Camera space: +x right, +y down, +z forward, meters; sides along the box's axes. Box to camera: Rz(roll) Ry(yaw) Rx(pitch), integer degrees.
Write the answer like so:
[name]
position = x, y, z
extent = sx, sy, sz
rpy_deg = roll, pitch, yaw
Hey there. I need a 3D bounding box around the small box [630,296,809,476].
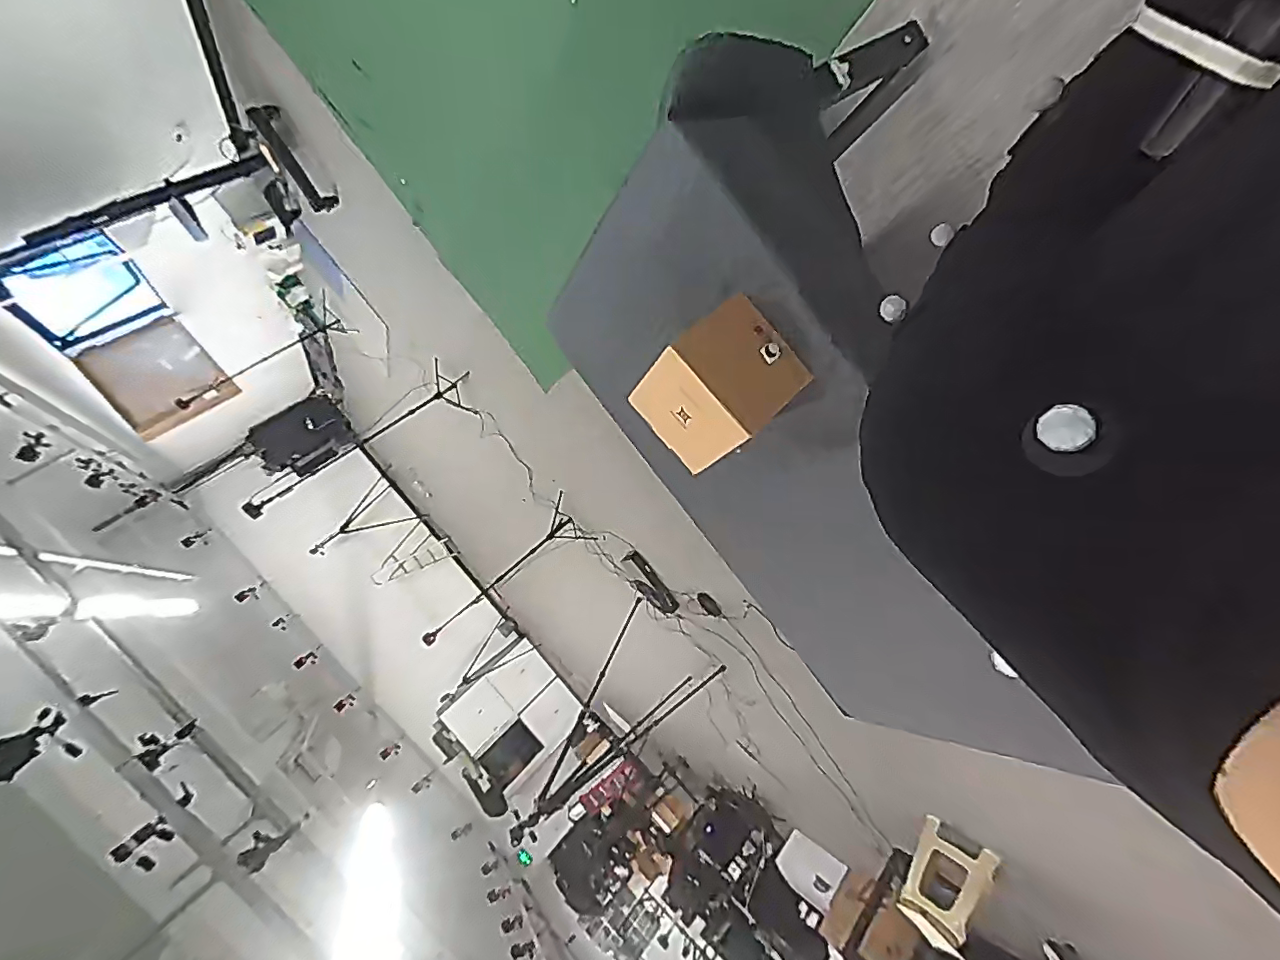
[small box]
position = 0.119, -0.139, 0.821
extent = 0.168, 0.176, 0.179
rpy_deg = 47, 152, -1
